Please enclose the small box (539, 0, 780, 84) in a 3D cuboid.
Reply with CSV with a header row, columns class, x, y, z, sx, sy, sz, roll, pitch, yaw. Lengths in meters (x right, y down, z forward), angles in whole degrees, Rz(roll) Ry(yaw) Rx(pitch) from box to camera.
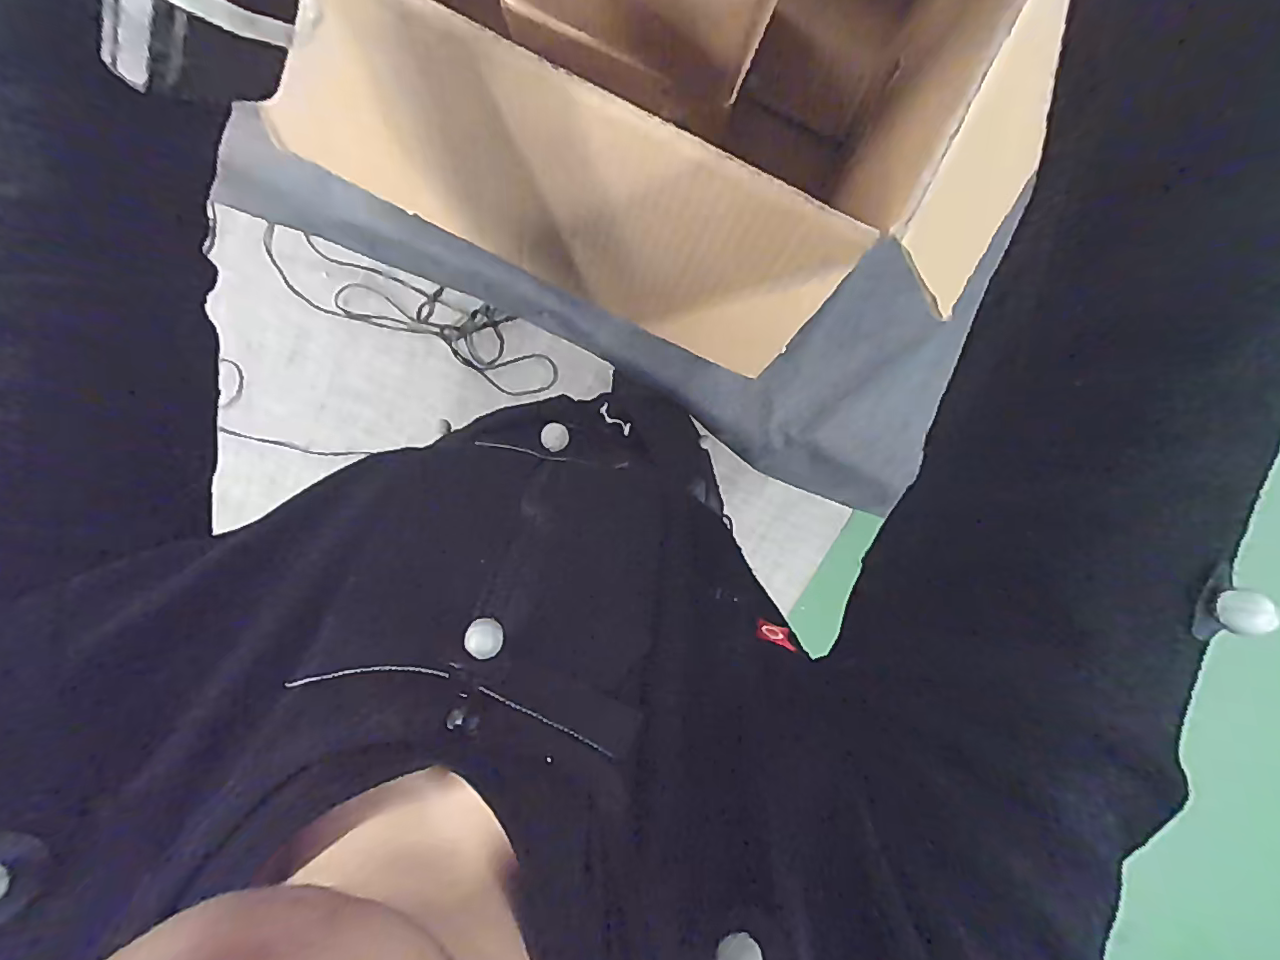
class,x,y,z,sx,sy,sz,roll,pitch,yaw
small box,0.021,-0.350,0.276,0.179,0.176,0.168,24,102,-5
